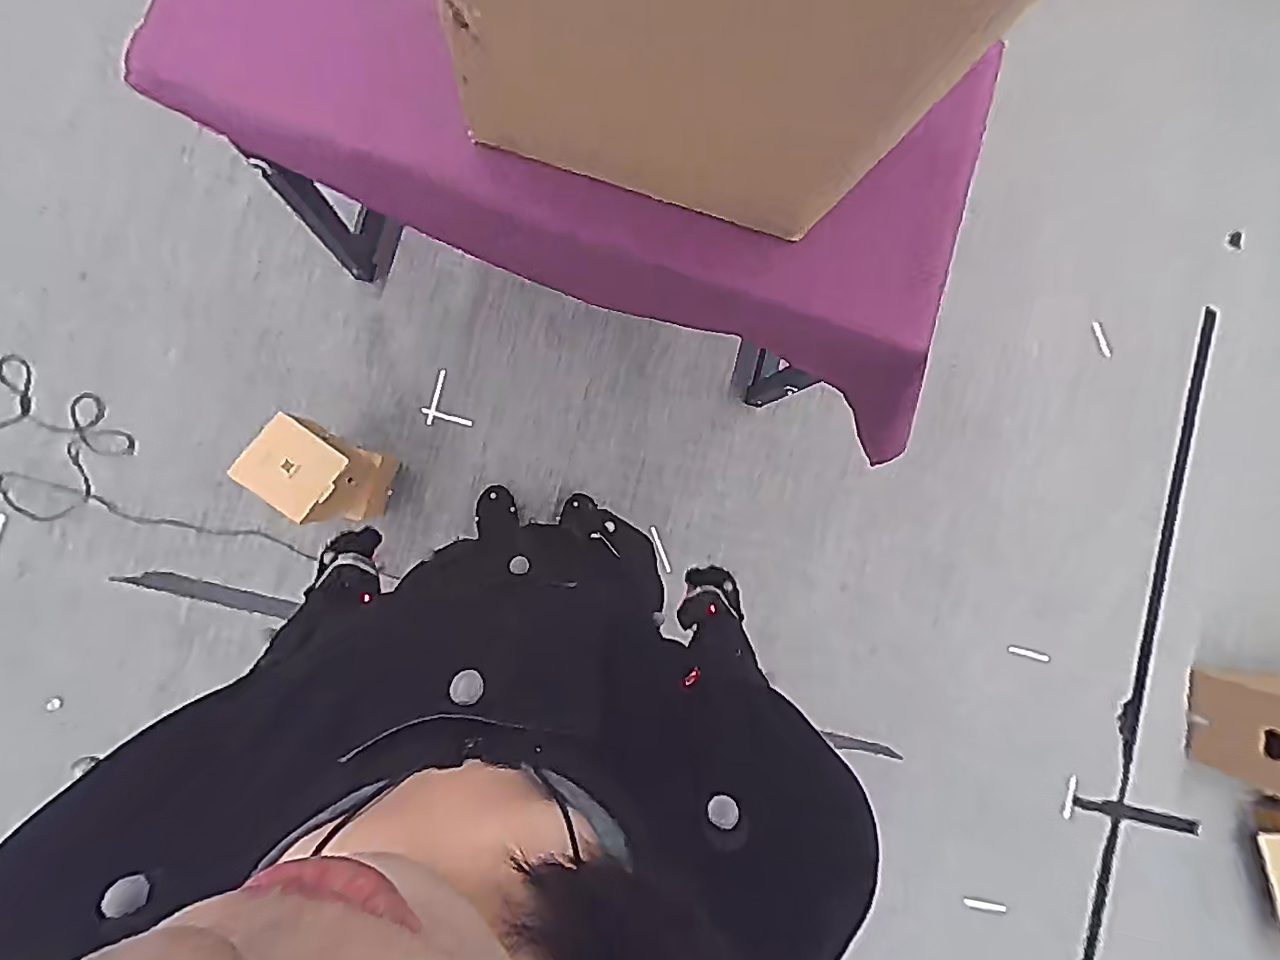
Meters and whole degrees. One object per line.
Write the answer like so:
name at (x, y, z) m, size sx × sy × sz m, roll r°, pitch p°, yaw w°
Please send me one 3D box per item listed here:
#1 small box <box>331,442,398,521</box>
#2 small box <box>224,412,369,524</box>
small box at (-0.730, -0.002, 1.339) m, size 0.179 × 0.176 × 0.168 m, roll 18°, pitch 86°, yaw -9°
small box at (-0.730, -0.023, 1.175) m, size 0.179 × 0.176 × 0.168 m, roll 37°, pitch 82°, yaw -6°
